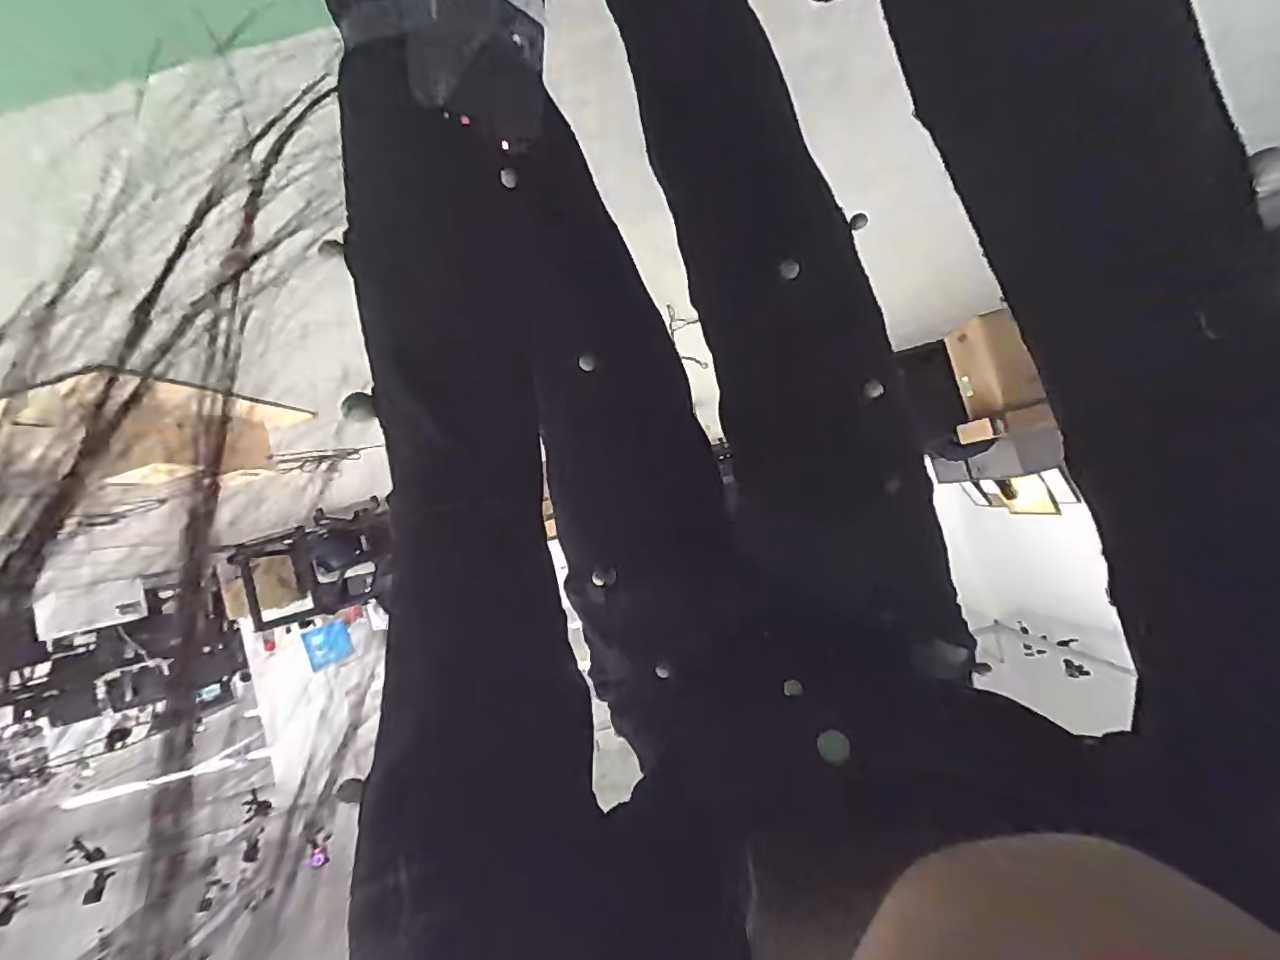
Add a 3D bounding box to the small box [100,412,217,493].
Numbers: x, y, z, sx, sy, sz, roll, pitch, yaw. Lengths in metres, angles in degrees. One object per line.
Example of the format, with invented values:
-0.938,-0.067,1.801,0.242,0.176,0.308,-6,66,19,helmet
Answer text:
-1.307,-0.070,1.468,0.179,0.176,0.168,-17,175,5,small box
